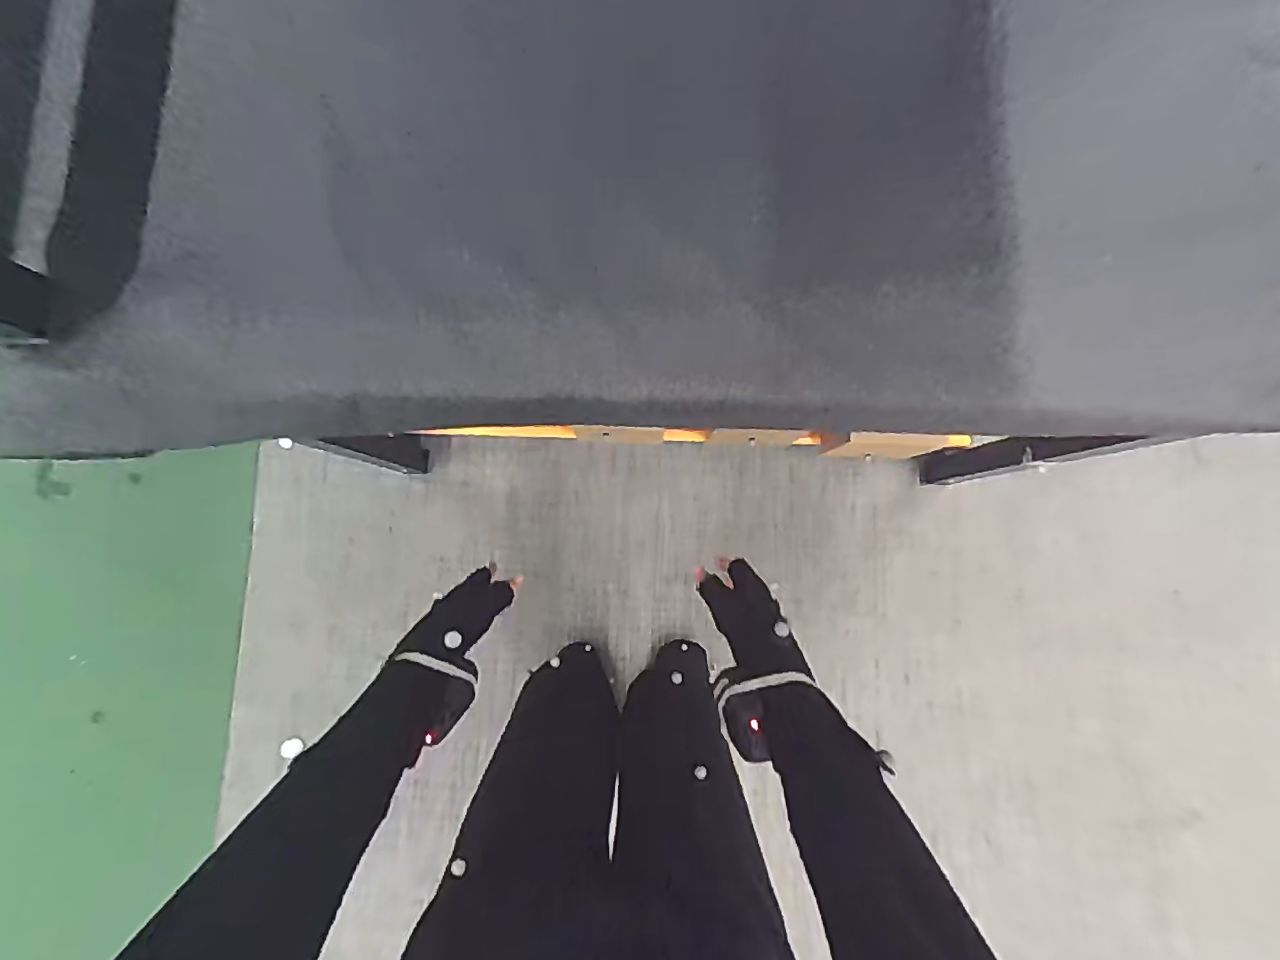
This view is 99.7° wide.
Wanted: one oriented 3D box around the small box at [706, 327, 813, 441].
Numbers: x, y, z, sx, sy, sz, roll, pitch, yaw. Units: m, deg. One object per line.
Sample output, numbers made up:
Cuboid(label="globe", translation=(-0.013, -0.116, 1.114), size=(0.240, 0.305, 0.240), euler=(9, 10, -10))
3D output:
Cuboid(label="small box", translation=(0.213, -0.167, 0.992), size=(0.168, 0.176, 0.179), euler=(1, 84, 1))

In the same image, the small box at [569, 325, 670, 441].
Cuboid(label="small box", translation=(-0.034, -0.169, 0.995), size=(0.168, 0.176, 0.179), euler=(2, 85, 0))
